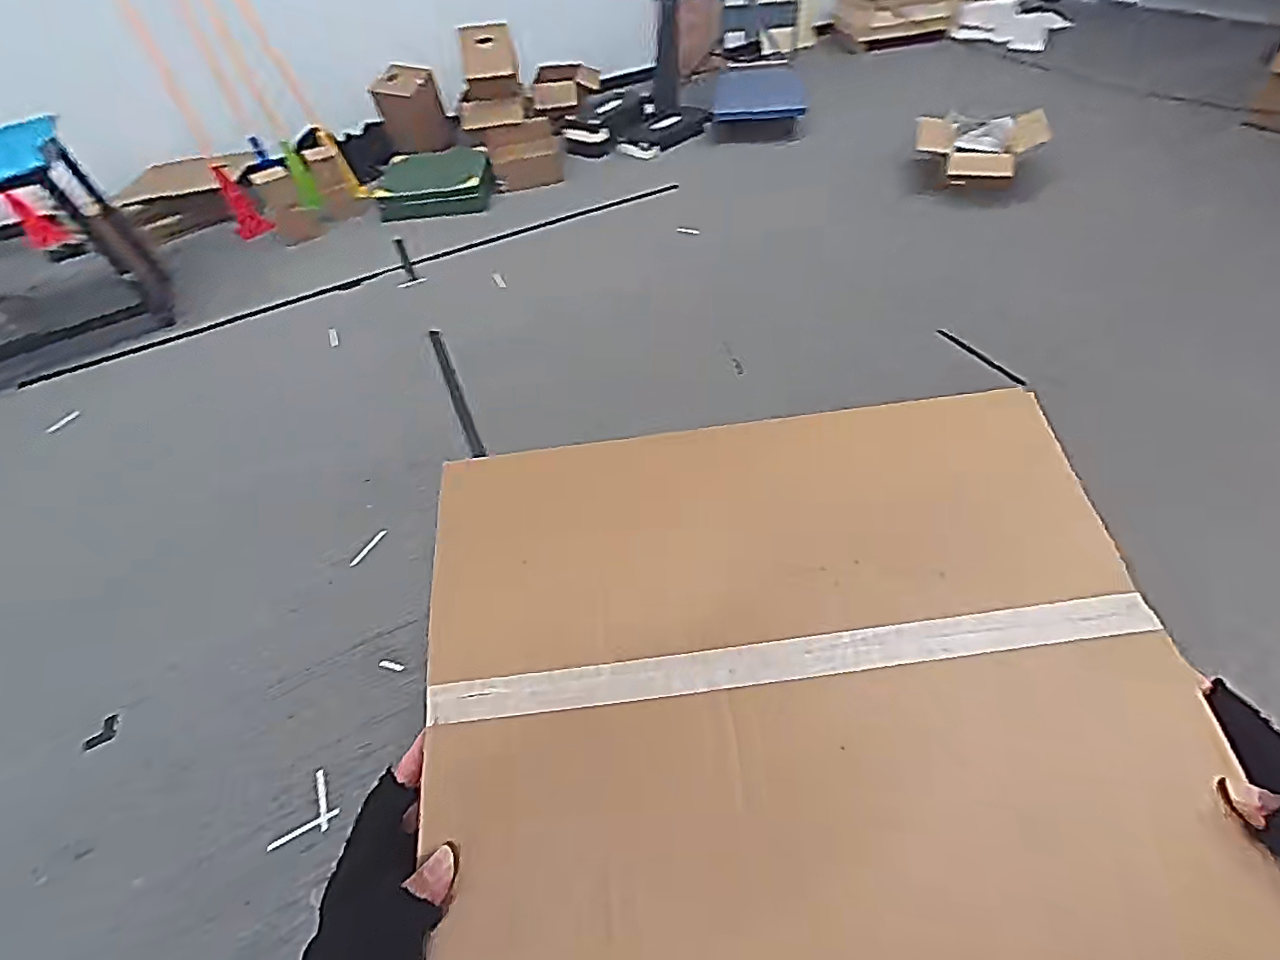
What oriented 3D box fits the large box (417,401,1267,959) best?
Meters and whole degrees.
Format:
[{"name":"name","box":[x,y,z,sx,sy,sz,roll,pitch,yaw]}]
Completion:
[{"name":"large box","box":[0.084,0.174,0.443,0.408,0.320,0.320,-9,62,0]}]
